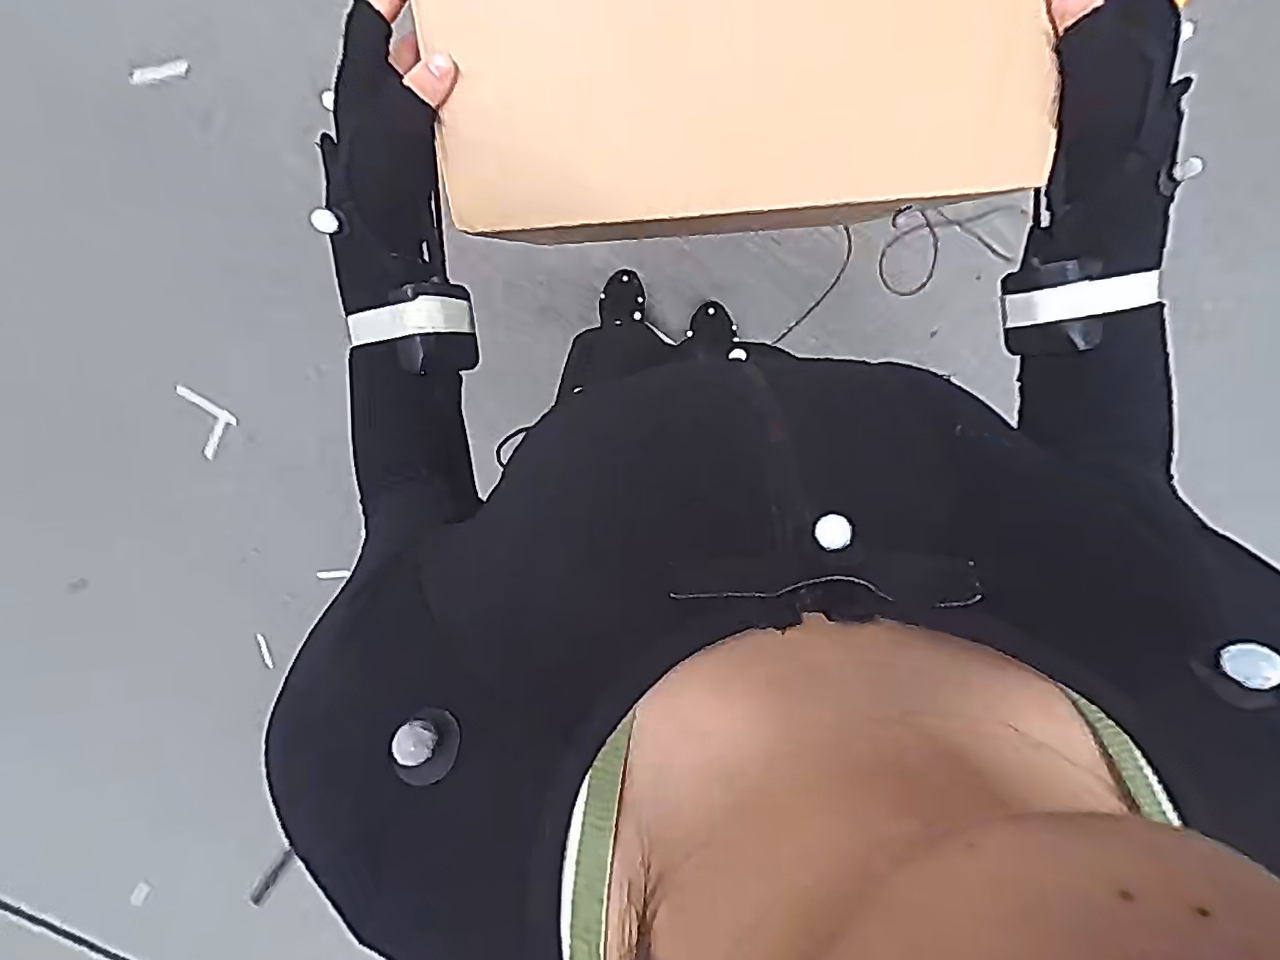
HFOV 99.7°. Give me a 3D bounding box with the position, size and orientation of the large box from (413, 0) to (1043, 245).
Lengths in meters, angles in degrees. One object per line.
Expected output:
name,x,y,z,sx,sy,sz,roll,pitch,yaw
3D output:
large box,0.053,-0.388,0.463,0.408,0.320,0.320,-5,112,1
